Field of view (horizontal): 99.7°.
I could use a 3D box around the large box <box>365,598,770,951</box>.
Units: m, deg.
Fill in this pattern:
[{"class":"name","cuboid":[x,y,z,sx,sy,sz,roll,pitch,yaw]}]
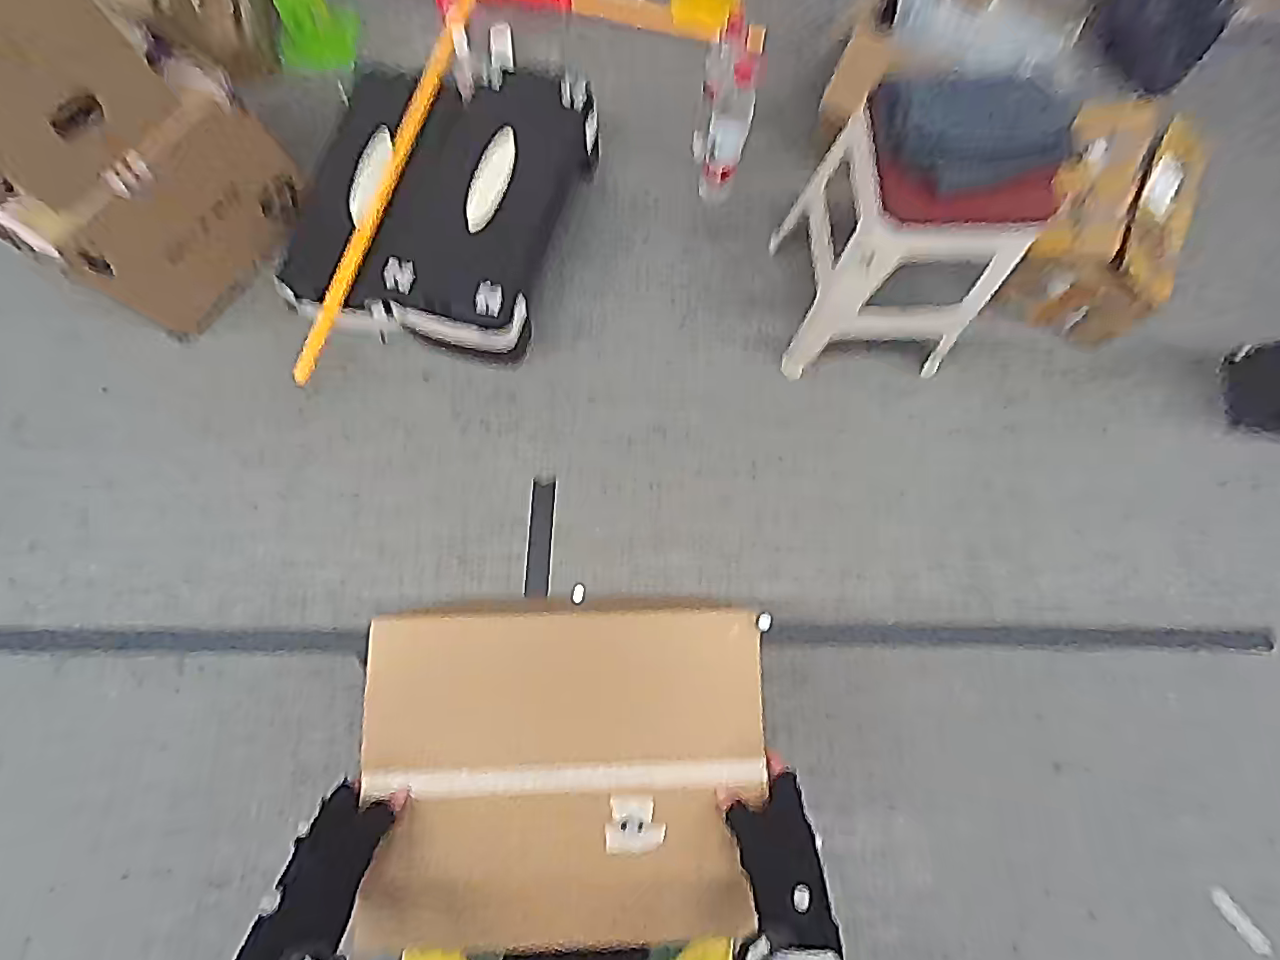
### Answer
[{"class":"large box","cuboid":[-0.081,0.321,0.699,0.408,0.320,0.320,-1,81,-3]}]
